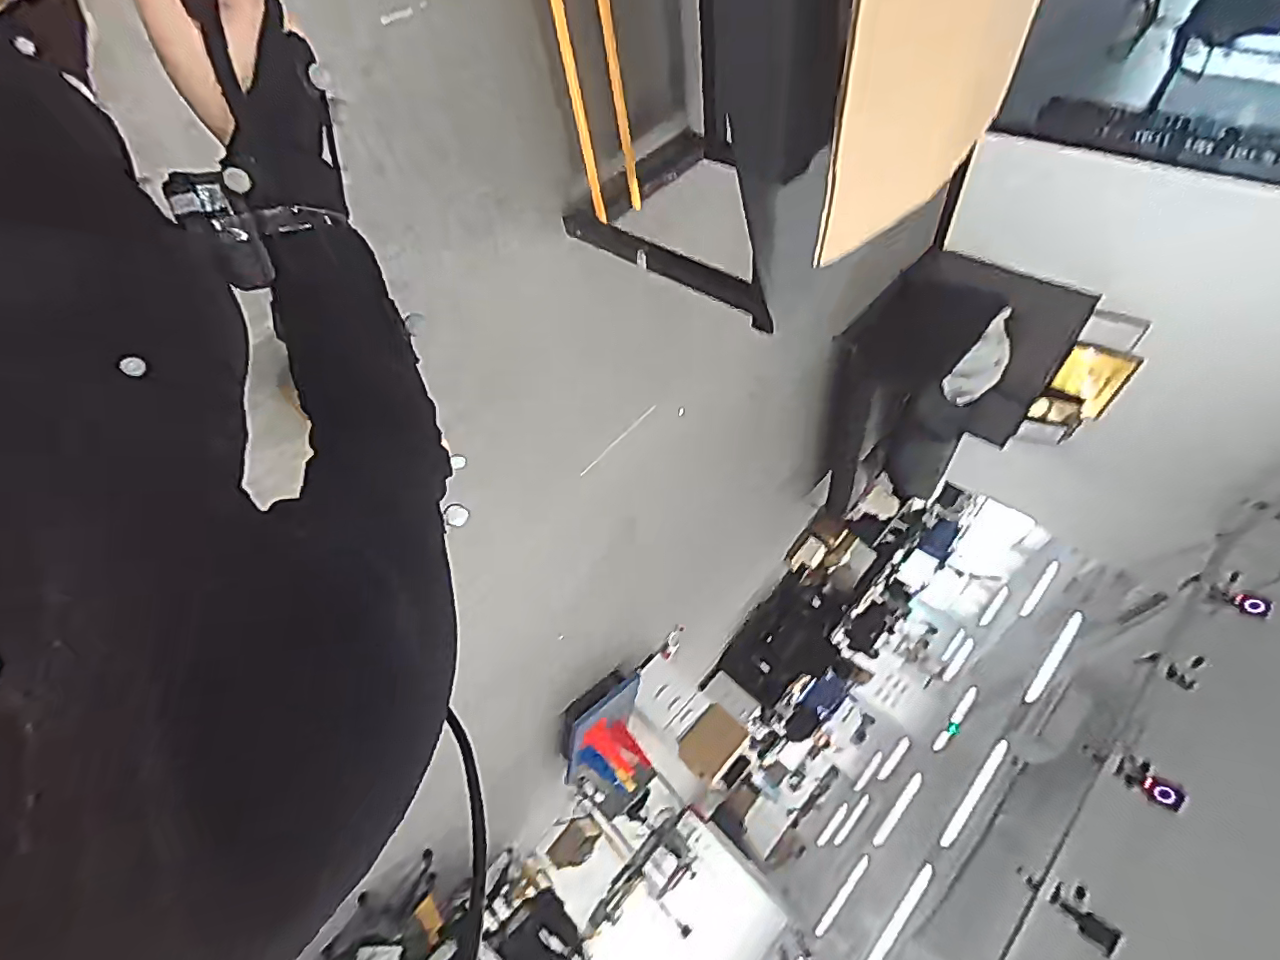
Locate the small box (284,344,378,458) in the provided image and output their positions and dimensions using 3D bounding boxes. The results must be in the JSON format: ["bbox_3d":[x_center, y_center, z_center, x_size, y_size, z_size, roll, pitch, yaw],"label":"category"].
[{"bbox_3d":[-0.693,-0.191,1.284,0.179,0.176,0.168,-47,150,-14],"label":"small box"}]
